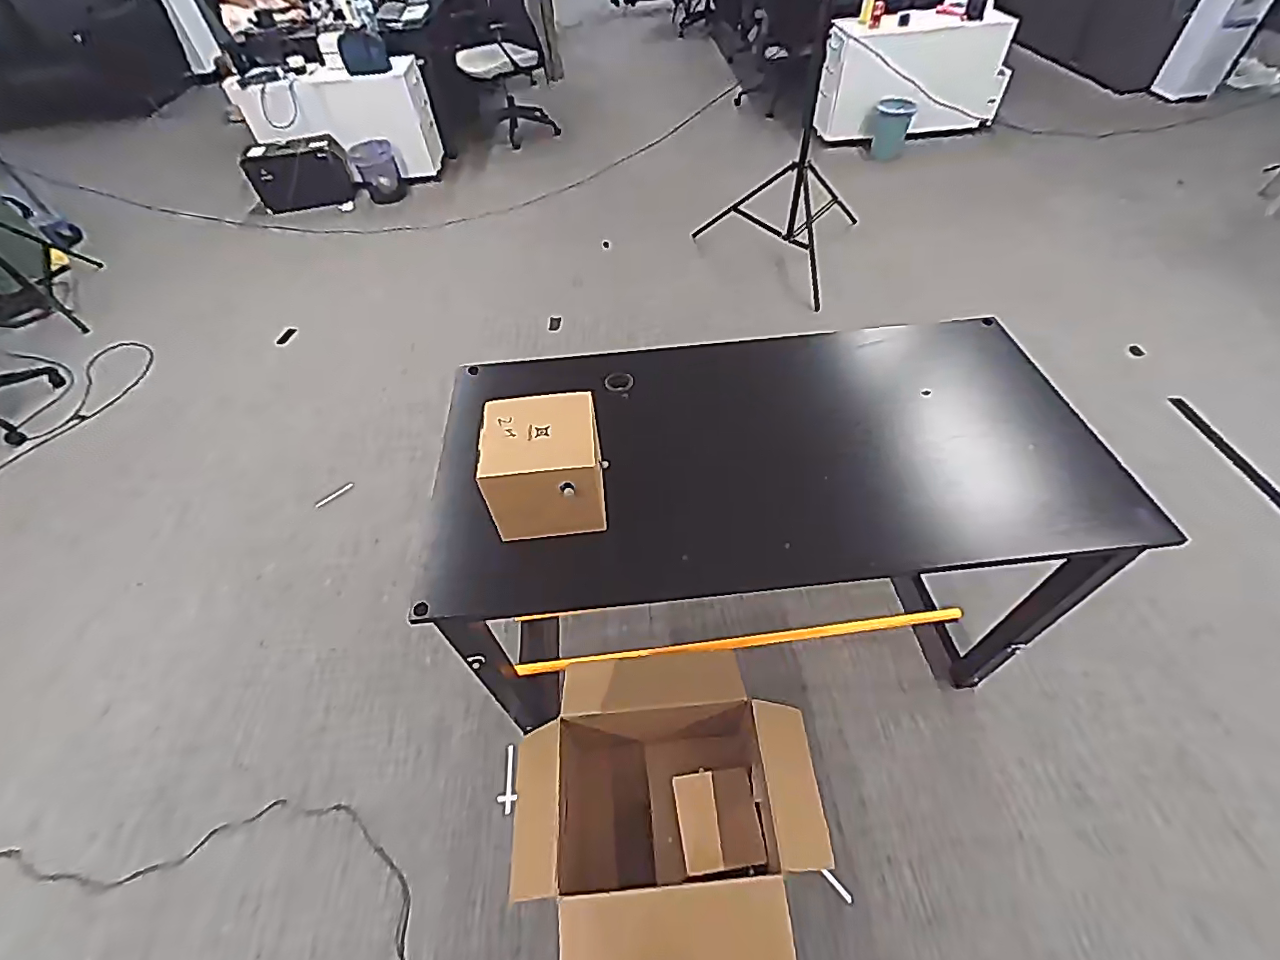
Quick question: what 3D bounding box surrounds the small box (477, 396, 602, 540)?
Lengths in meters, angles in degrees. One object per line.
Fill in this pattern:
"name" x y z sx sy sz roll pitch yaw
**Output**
"small box" -0.155 -0.017 0.896 0.179 0.176 0.168 -6 50 -2
